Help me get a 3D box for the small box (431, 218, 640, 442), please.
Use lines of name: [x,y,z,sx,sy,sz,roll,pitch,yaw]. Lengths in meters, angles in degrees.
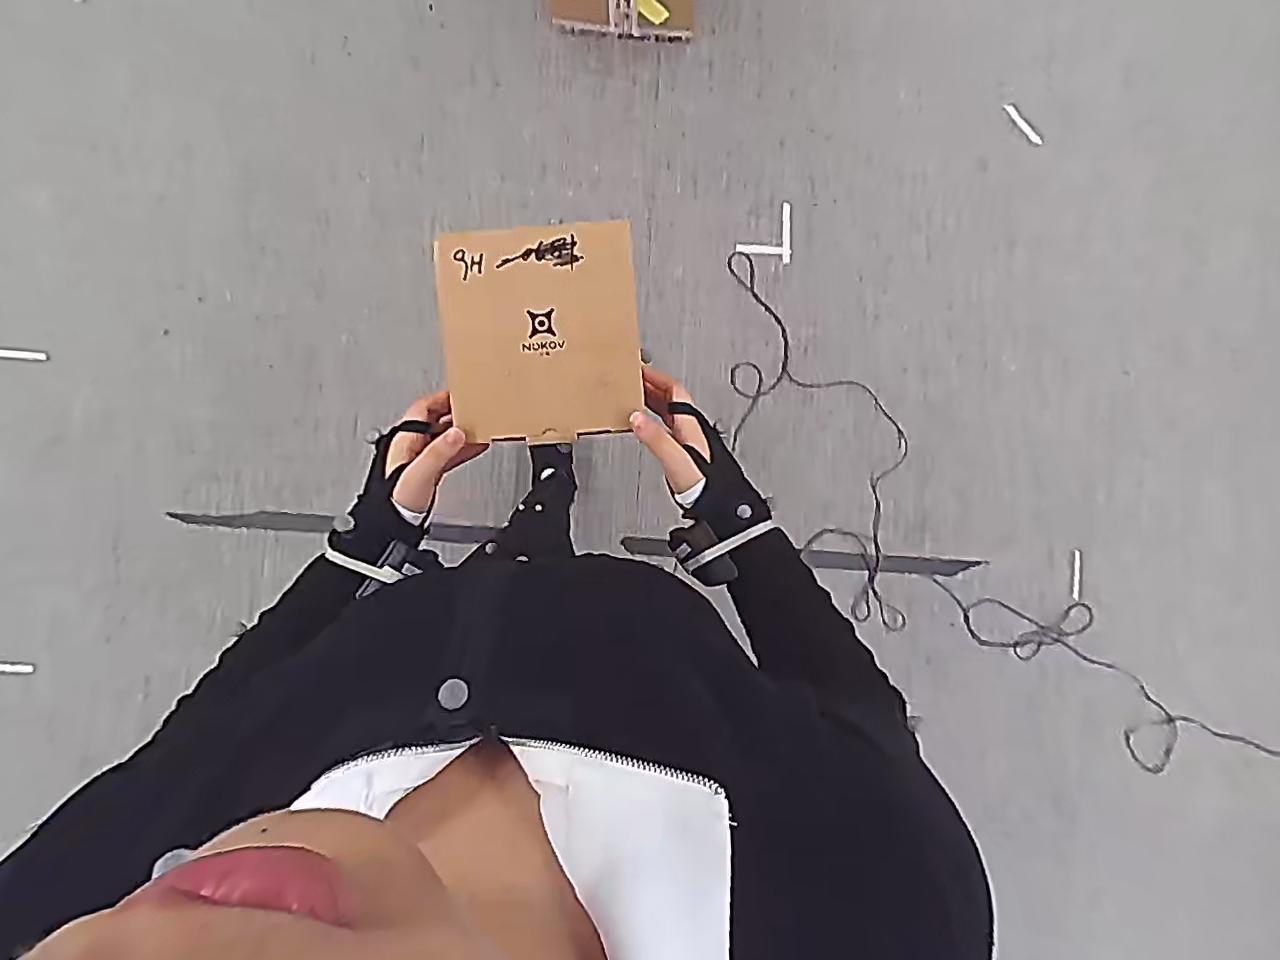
small box: [-0.086,-0.134,0.533,0.168,0.176,0.179,-4,97,0]
